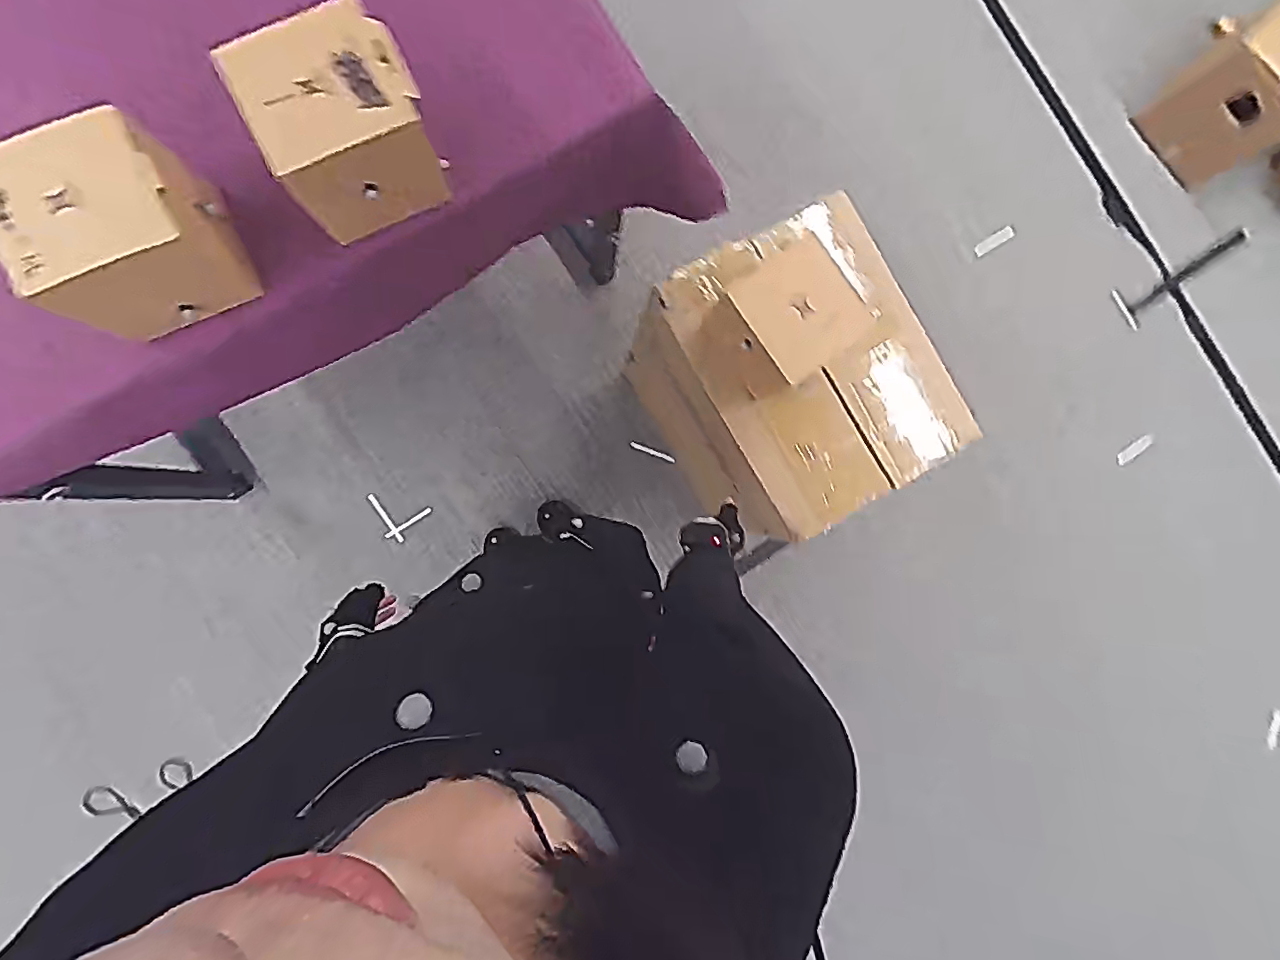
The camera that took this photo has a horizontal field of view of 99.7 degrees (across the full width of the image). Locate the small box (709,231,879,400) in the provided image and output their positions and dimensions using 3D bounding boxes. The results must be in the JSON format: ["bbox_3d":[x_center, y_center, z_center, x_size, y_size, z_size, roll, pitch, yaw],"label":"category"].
[{"bbox_3d":[0.232,-0.249,0.867,0.168,0.176,0.179,-36,93,-4],"label":"small box"}]

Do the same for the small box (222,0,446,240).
[{"bbox_3d":[-0.373,-0.451,0.703,0.179,0.176,0.168,-27,90,-6],"label":"small box"}]

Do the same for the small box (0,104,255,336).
[{"bbox_3d":[-0.623,-0.305,0.668,0.179,0.176,0.168,-26,90,-8],"label":"small box"}]
